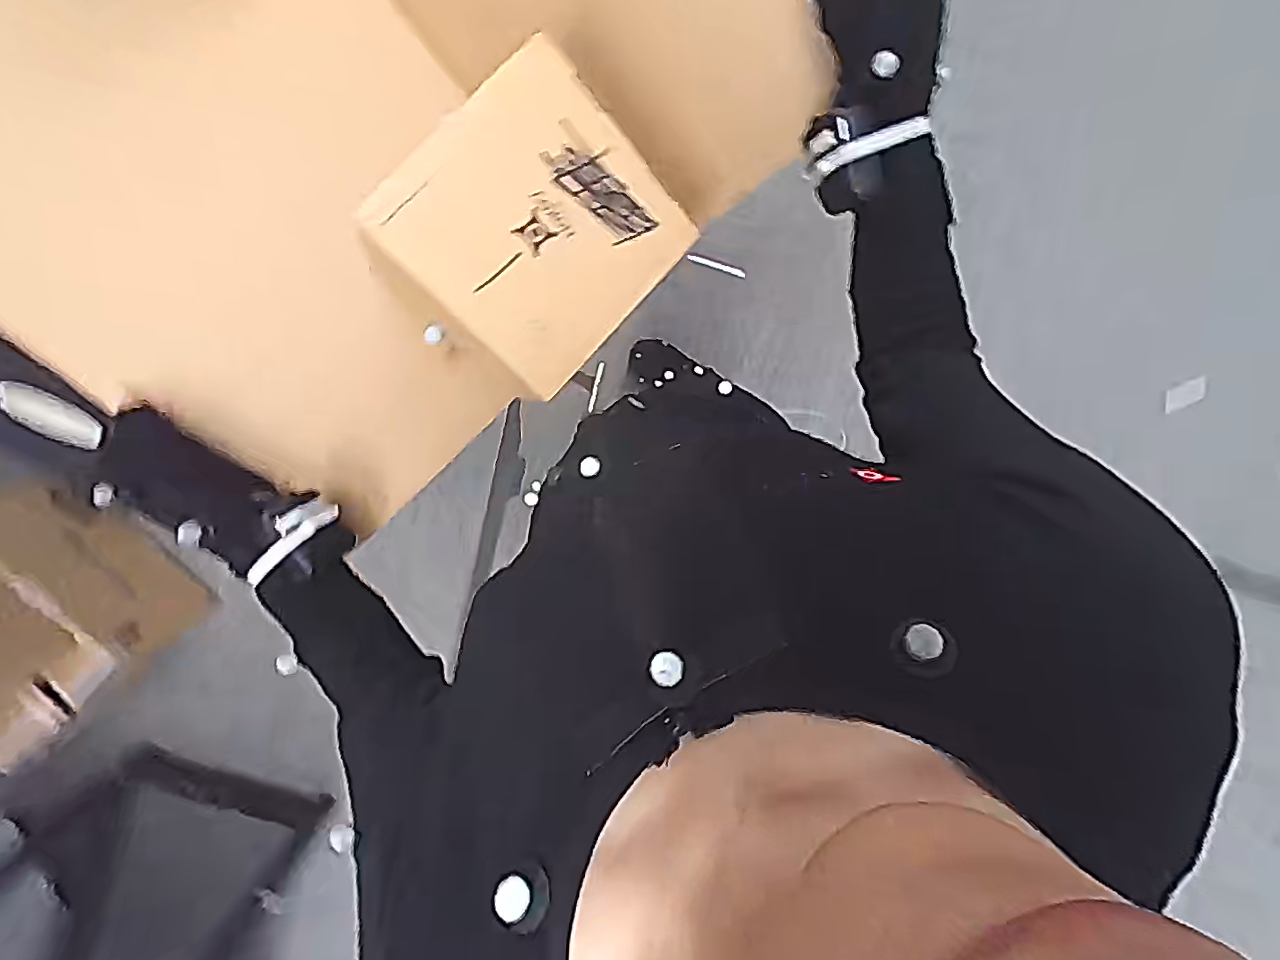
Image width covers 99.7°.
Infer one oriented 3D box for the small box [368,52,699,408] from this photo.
[{"bbox_3d":[-0.091,-0.181,0.445,0.179,0.176,0.168,-48,113,-7],"label":"small box"}]
